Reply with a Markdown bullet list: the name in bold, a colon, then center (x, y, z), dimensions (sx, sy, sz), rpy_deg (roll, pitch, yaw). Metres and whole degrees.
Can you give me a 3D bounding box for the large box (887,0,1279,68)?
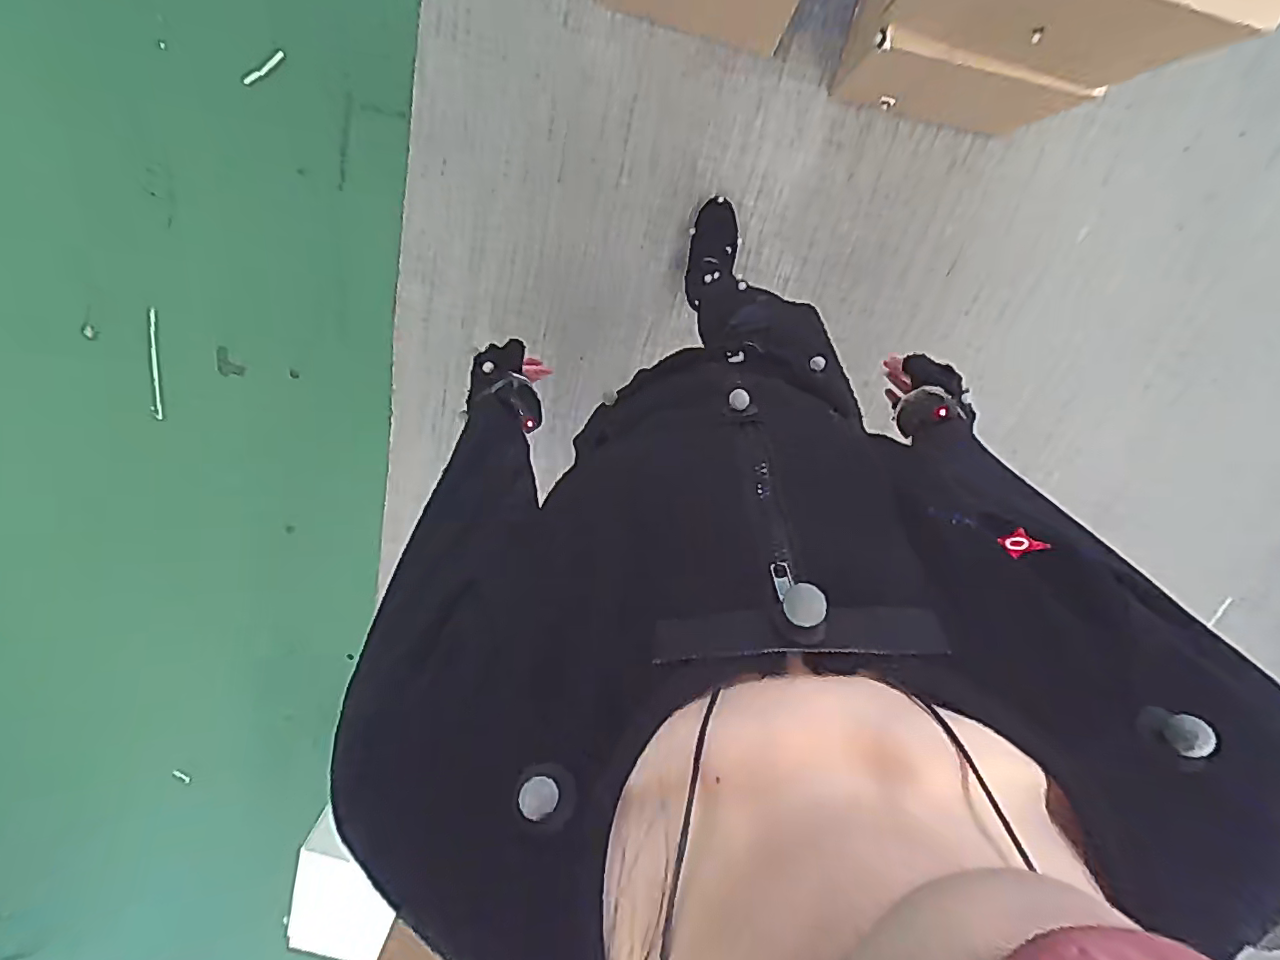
- **large box**: center (0.621, -0.801, 0.705), dimensions (0.408, 0.320, 0.320), rpy_deg (15, 116, -2)
